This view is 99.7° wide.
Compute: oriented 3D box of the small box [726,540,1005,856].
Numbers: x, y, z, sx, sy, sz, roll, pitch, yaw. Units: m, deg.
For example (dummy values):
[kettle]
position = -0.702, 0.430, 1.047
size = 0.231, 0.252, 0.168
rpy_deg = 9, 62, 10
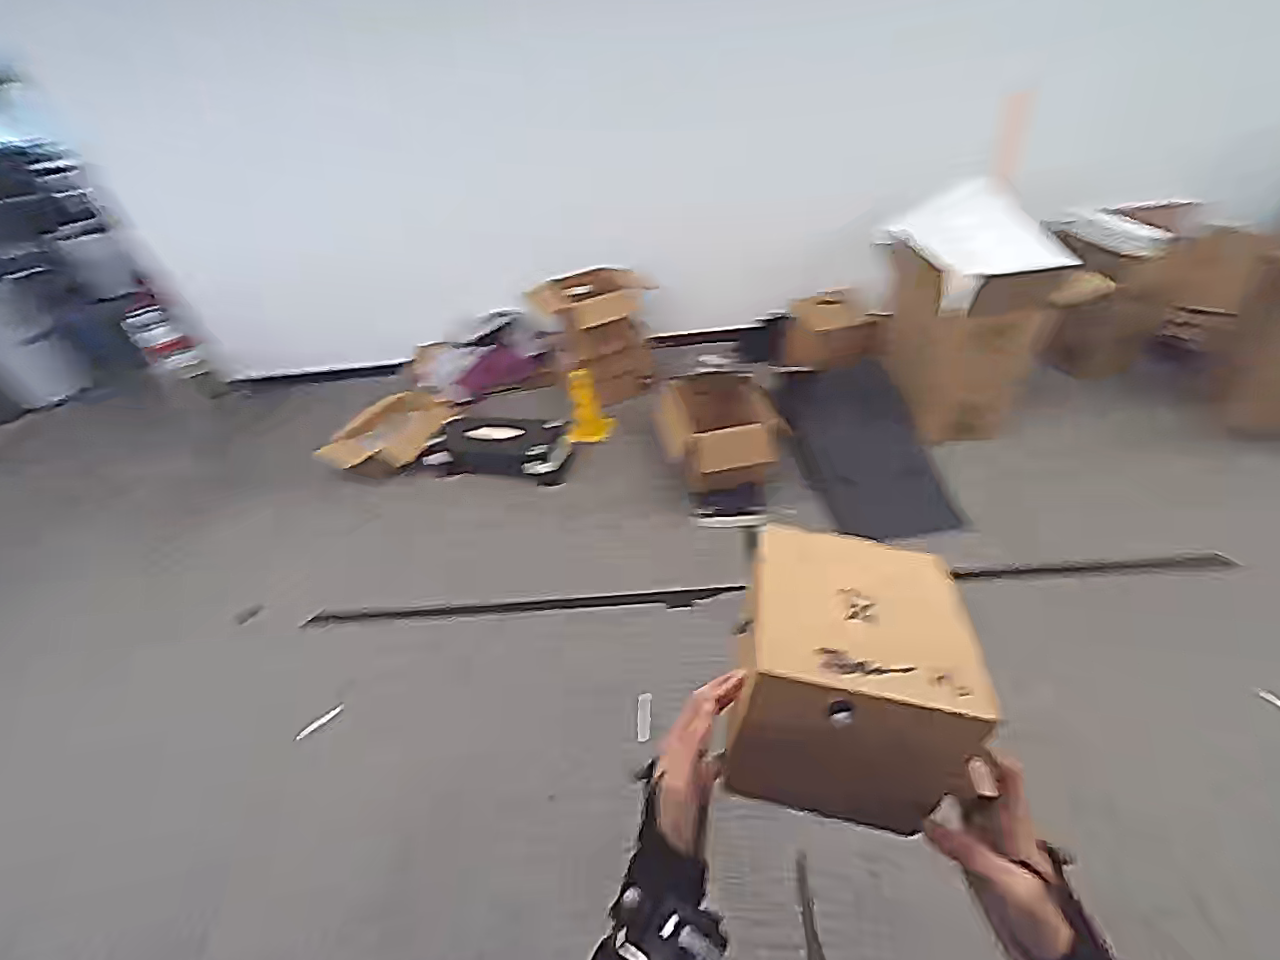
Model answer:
[small box]
position = 0.175, 0.184, 0.481
size = 0.168, 0.176, 0.179
rpy_deg = 10, 32, 8
